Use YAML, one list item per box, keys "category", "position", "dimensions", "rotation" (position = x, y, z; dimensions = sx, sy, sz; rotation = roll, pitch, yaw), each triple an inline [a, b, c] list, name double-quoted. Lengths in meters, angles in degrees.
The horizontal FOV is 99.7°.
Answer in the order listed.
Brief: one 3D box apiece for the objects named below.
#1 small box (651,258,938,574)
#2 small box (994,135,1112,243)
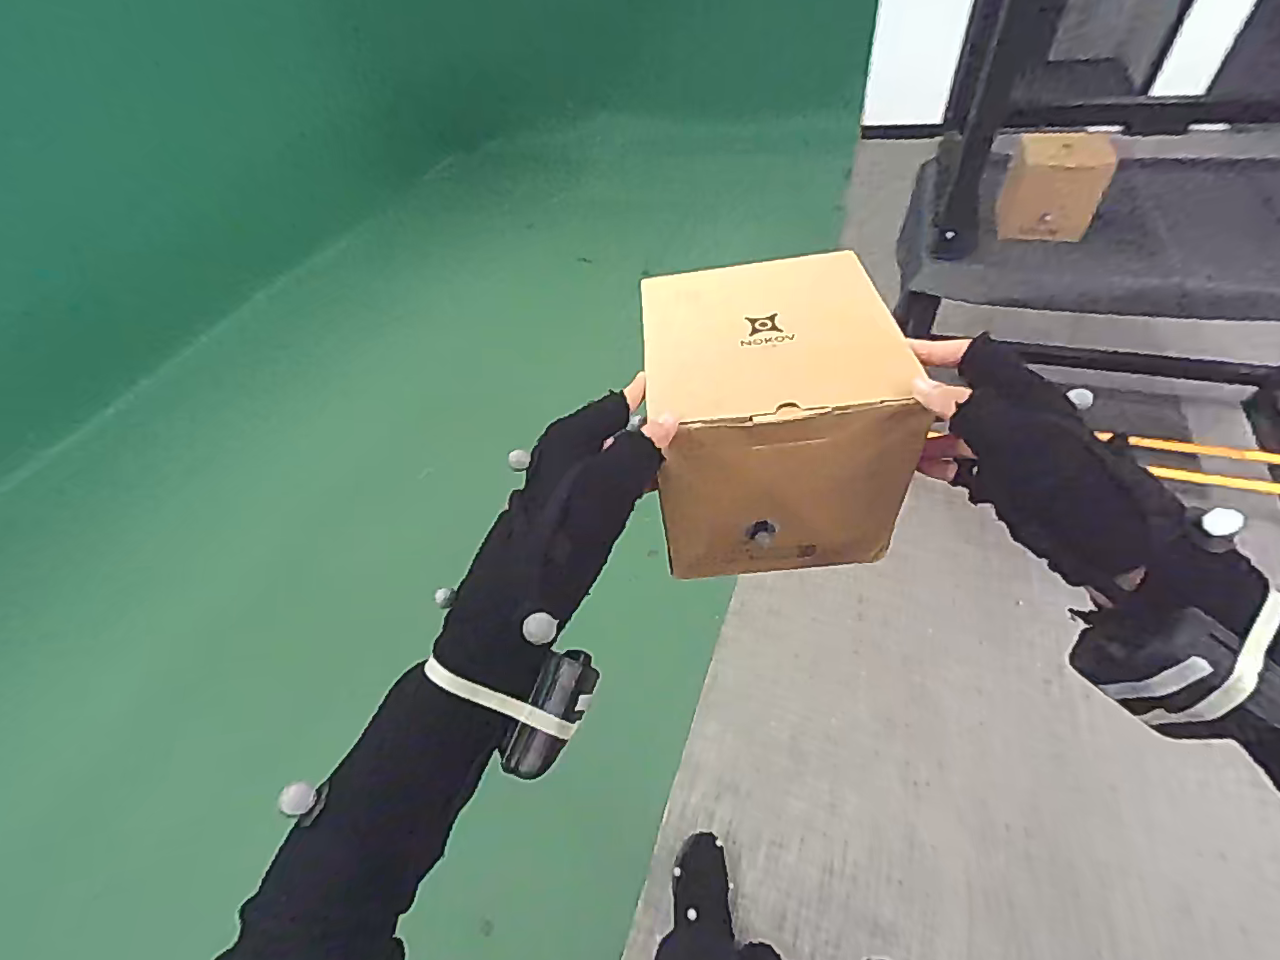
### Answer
- category: "small box"
  position: [0.098, -0.047, 0.427]
  dimensions: [0.168, 0.176, 0.179]
  rotation: [-6, 48, 5]
- category: "small box"
  position: [0.945, -0.677, 1.257]
  dimensions: [0.168, 0.176, 0.179]
  rotation: [11, 53, 19]
